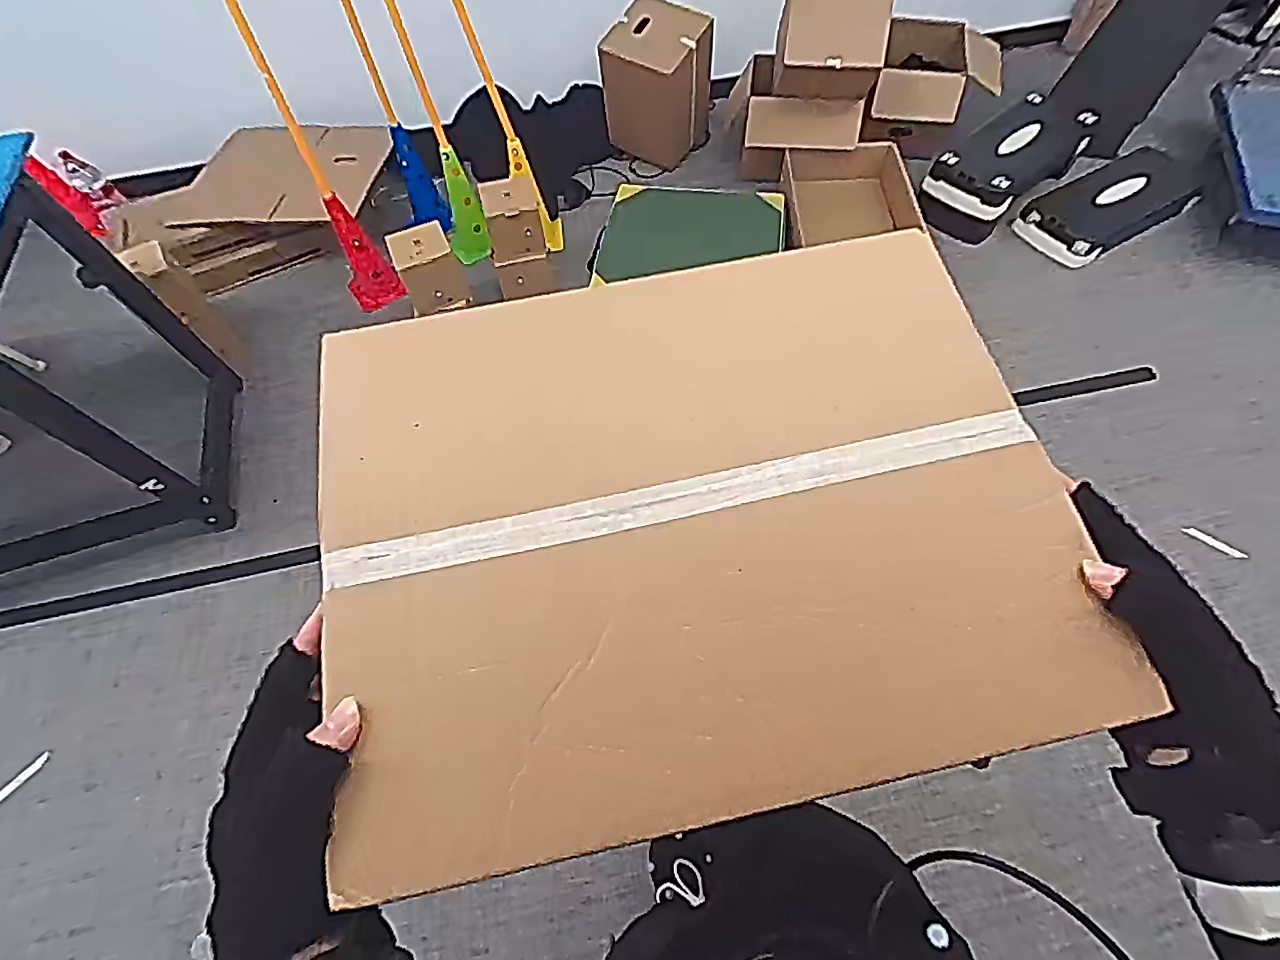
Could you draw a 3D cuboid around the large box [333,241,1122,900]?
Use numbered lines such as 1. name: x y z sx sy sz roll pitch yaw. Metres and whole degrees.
1. large box: 0.030 0.064 0.454 0.408 0.320 0.320 -12 70 -3
